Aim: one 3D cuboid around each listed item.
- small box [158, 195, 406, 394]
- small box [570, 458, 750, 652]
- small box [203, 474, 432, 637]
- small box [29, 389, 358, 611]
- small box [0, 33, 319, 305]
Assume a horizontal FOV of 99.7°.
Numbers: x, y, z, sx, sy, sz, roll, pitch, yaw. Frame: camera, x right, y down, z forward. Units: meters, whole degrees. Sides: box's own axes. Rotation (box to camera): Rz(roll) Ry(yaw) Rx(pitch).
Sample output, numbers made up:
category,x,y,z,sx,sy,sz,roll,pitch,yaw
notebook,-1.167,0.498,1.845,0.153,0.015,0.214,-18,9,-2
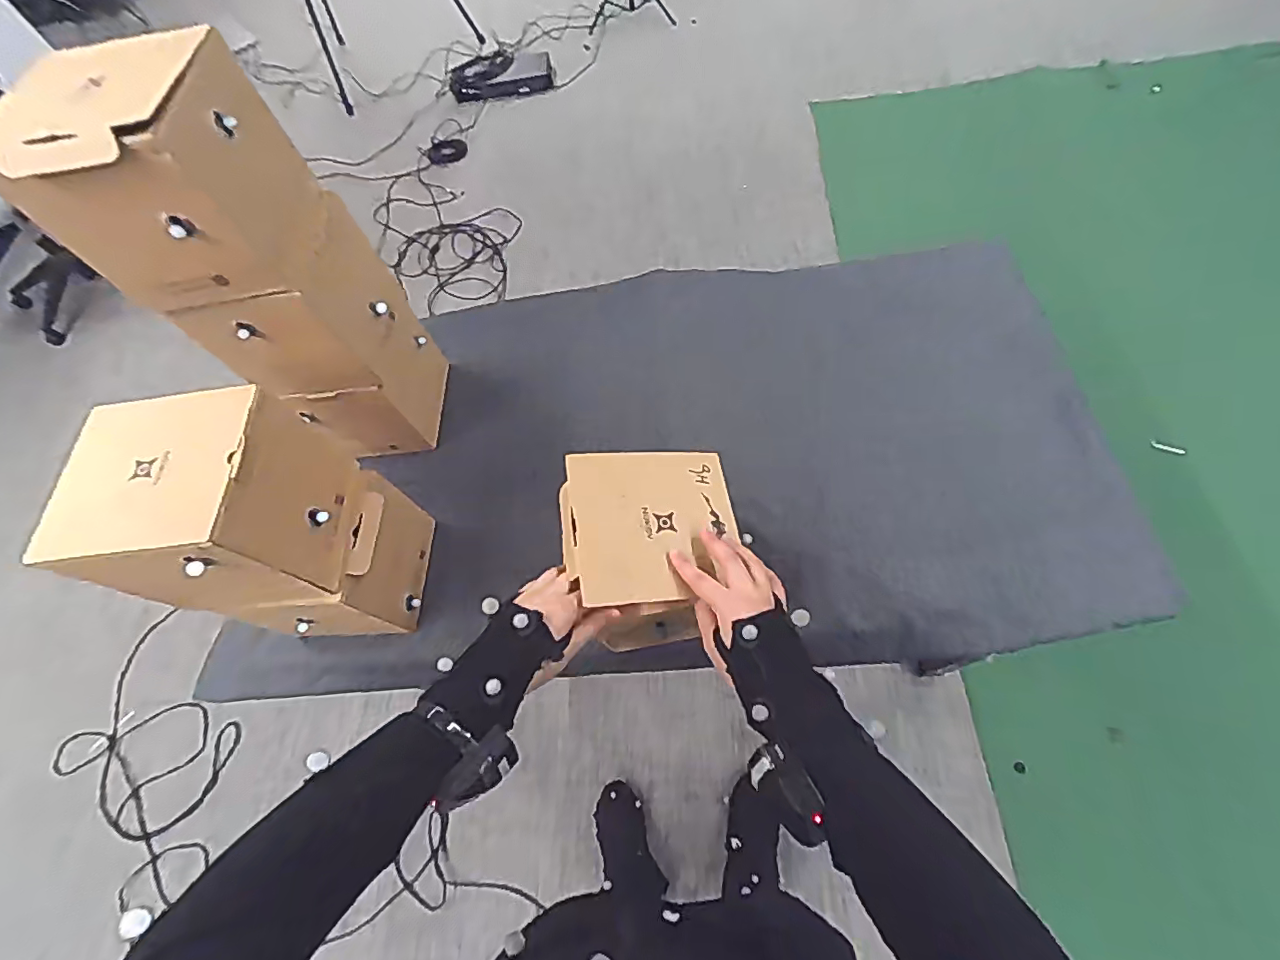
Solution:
category,x,y,z,sx,sy,sz,roll,pitch,yaw
small box,-0.432,-0.224,0.686,0.179,0.176,0.168,-4,64,5
small box,0.029,0.098,0.643,0.179,0.176,0.168,-12,63,4
small box,-0.395,0.105,0.701,0.179,0.176,0.168,-4,63,7
small box,-0.431,0.031,0.560,0.179,0.176,0.168,-7,63,4
small box,-0.459,-0.295,0.542,0.168,0.176,0.179,-7,62,3
